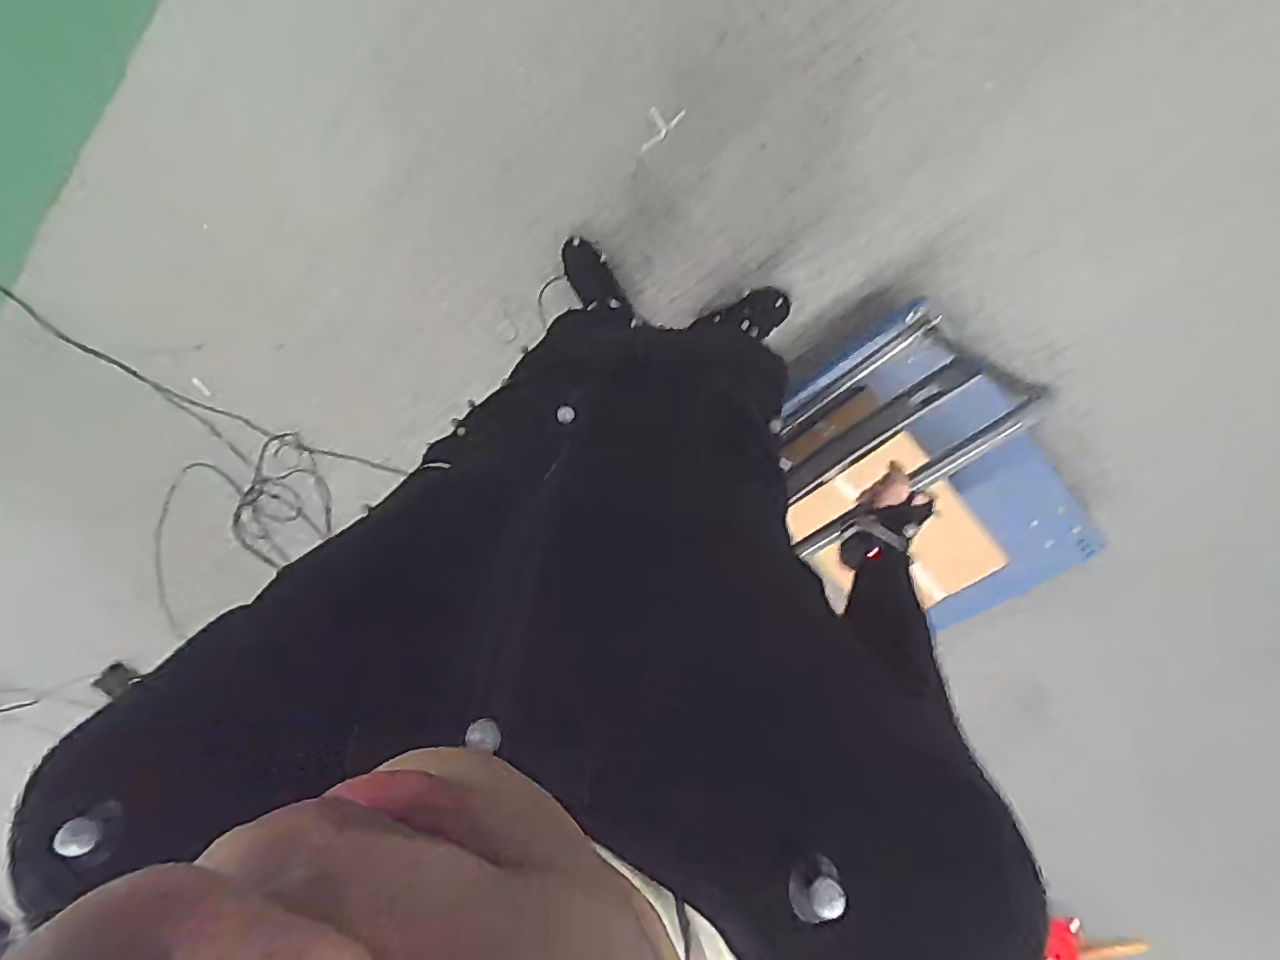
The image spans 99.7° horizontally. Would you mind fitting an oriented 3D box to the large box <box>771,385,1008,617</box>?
[{"bbox_3d":[0.576,0.043,1.318,0.320,0.320,0.408,-39,105,25],"label":"large box"}]
